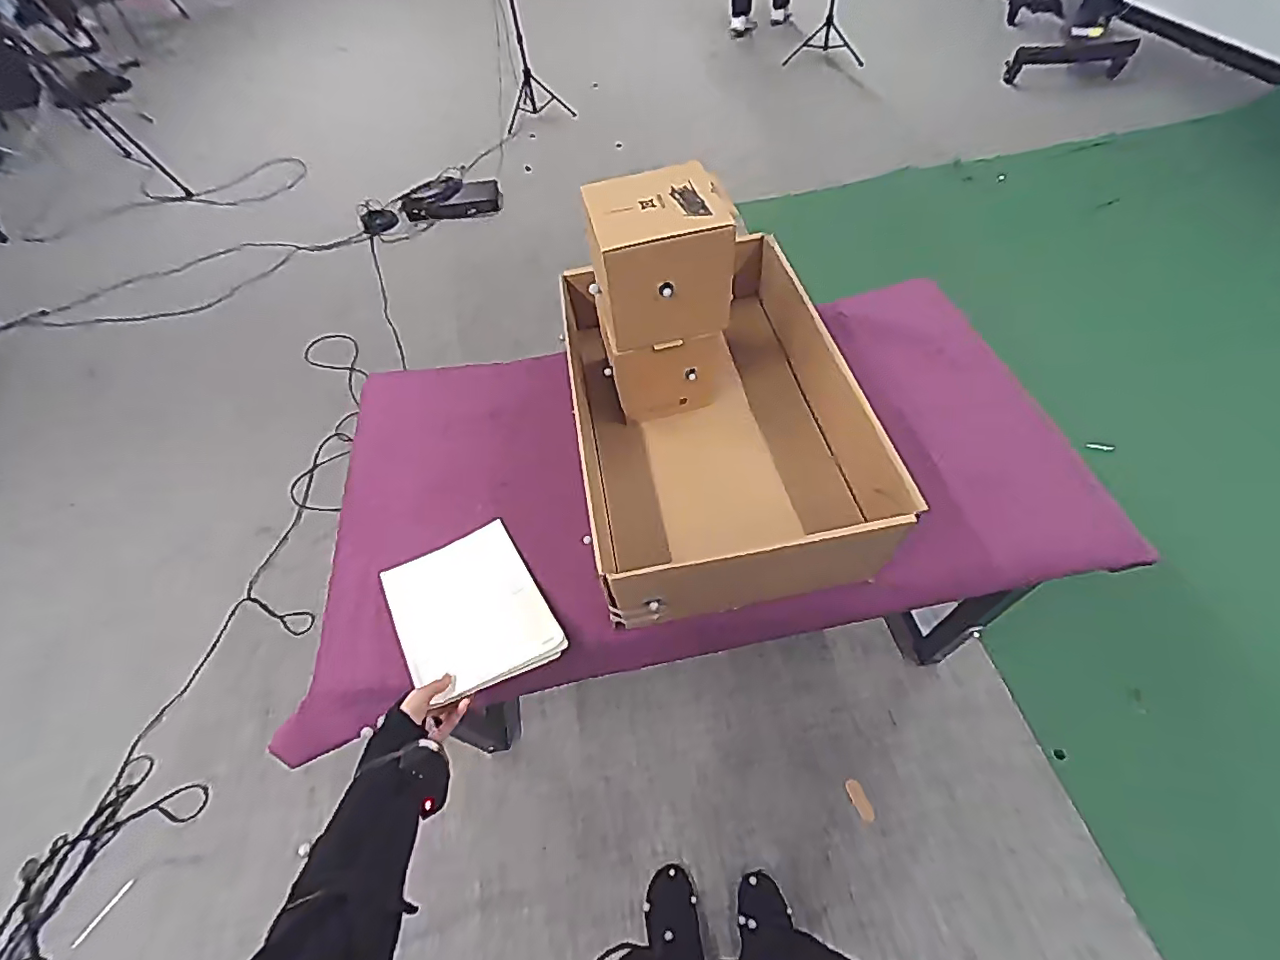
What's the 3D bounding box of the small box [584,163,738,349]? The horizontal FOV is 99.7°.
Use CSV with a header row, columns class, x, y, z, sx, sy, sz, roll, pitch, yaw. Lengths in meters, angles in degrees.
class,x,y,z,sx,sy,sz,roll,pitch,yaw
small box,0.027,-0.317,0.778,0.179,0.176,0.168,-13,56,-3
